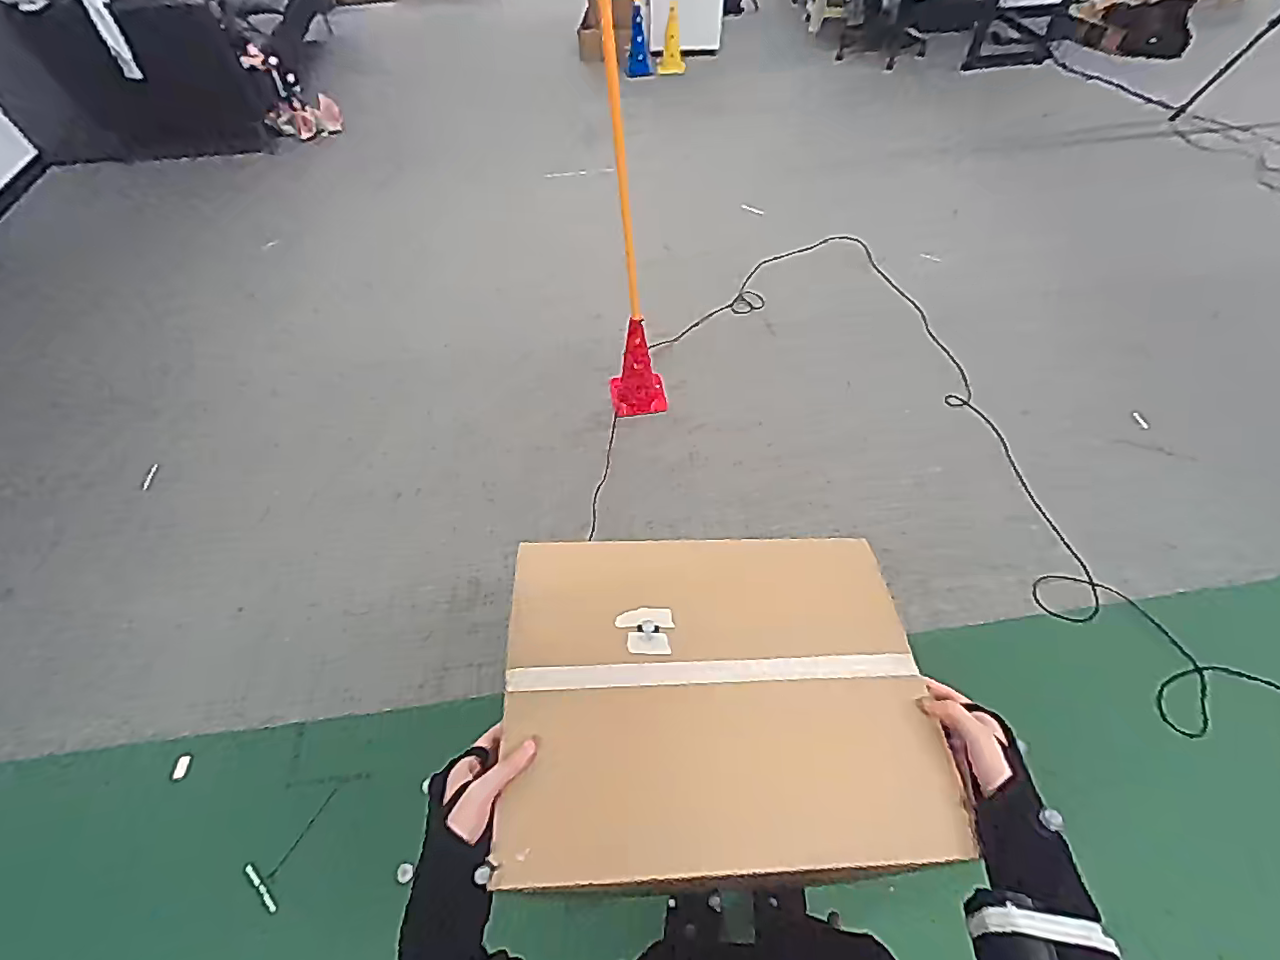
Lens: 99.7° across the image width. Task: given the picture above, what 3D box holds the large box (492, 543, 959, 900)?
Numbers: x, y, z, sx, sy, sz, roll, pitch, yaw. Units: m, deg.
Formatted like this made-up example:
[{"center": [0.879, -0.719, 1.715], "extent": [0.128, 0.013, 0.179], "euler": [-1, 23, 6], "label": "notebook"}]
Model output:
[{"center": [0.062, 0.294, 0.652], "extent": [0.408, 0.320, 0.320], "euler": [-2, 50, -5], "label": "large box"}]
